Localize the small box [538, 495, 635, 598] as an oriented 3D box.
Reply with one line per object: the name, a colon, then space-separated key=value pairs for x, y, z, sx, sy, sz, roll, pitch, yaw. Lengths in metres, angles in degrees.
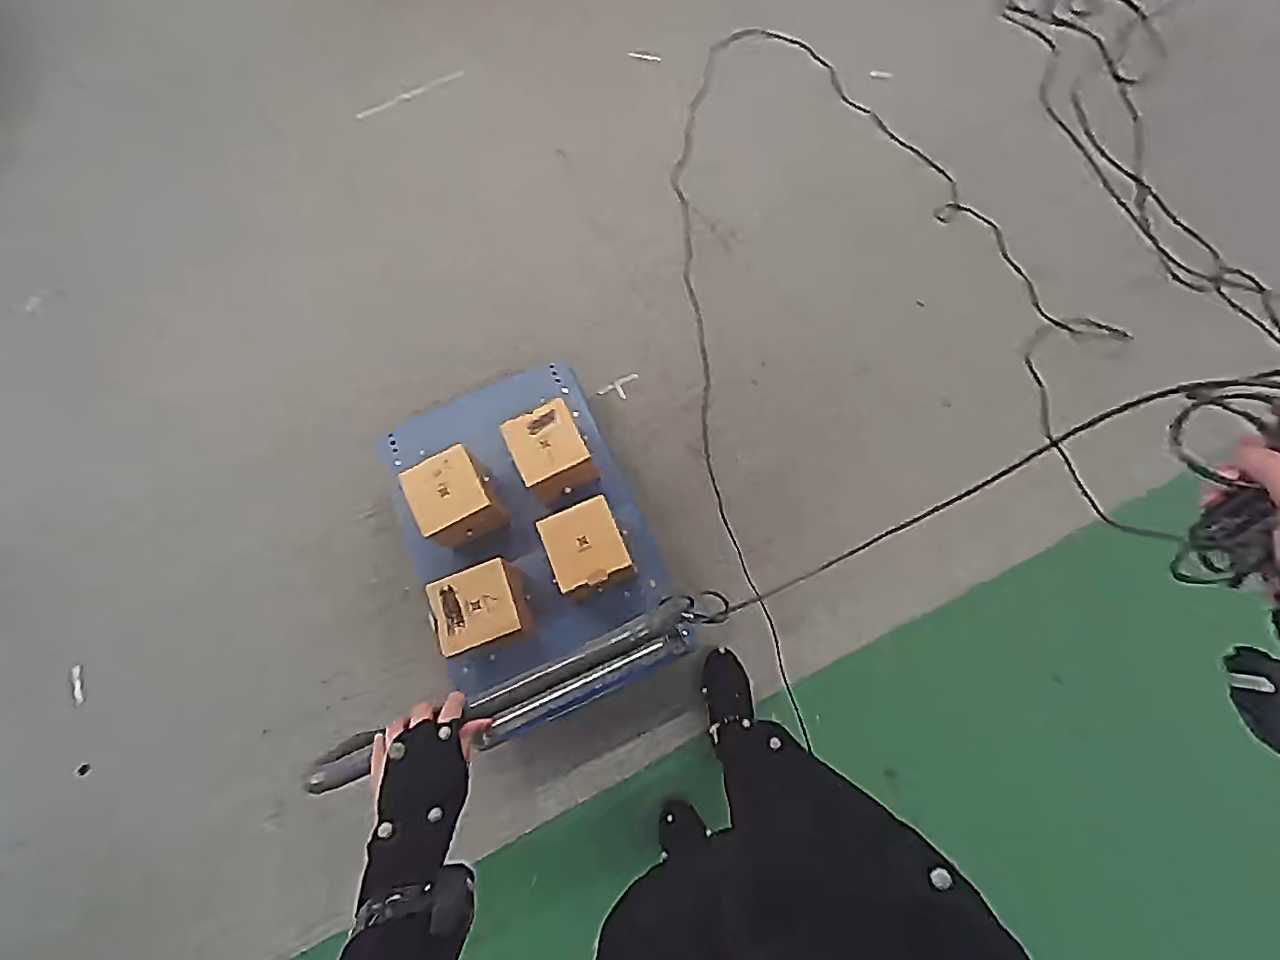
small box: x=-0.119 y=0.161 z=1.264 sx=0.168 sy=0.176 sz=0.179 roll=-23 pitch=74 yaw=-3

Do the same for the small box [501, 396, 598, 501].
small box: x=-0.218 y=-0.071 z=1.338 sx=0.168 sy=0.176 sz=0.179 roll=-26 pitch=74 yaw=-4

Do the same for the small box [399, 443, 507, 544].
small box: x=-0.448 y=0.042 z=1.318 sx=0.168 sy=0.176 sz=0.179 roll=-28 pitch=74 yaw=-6
